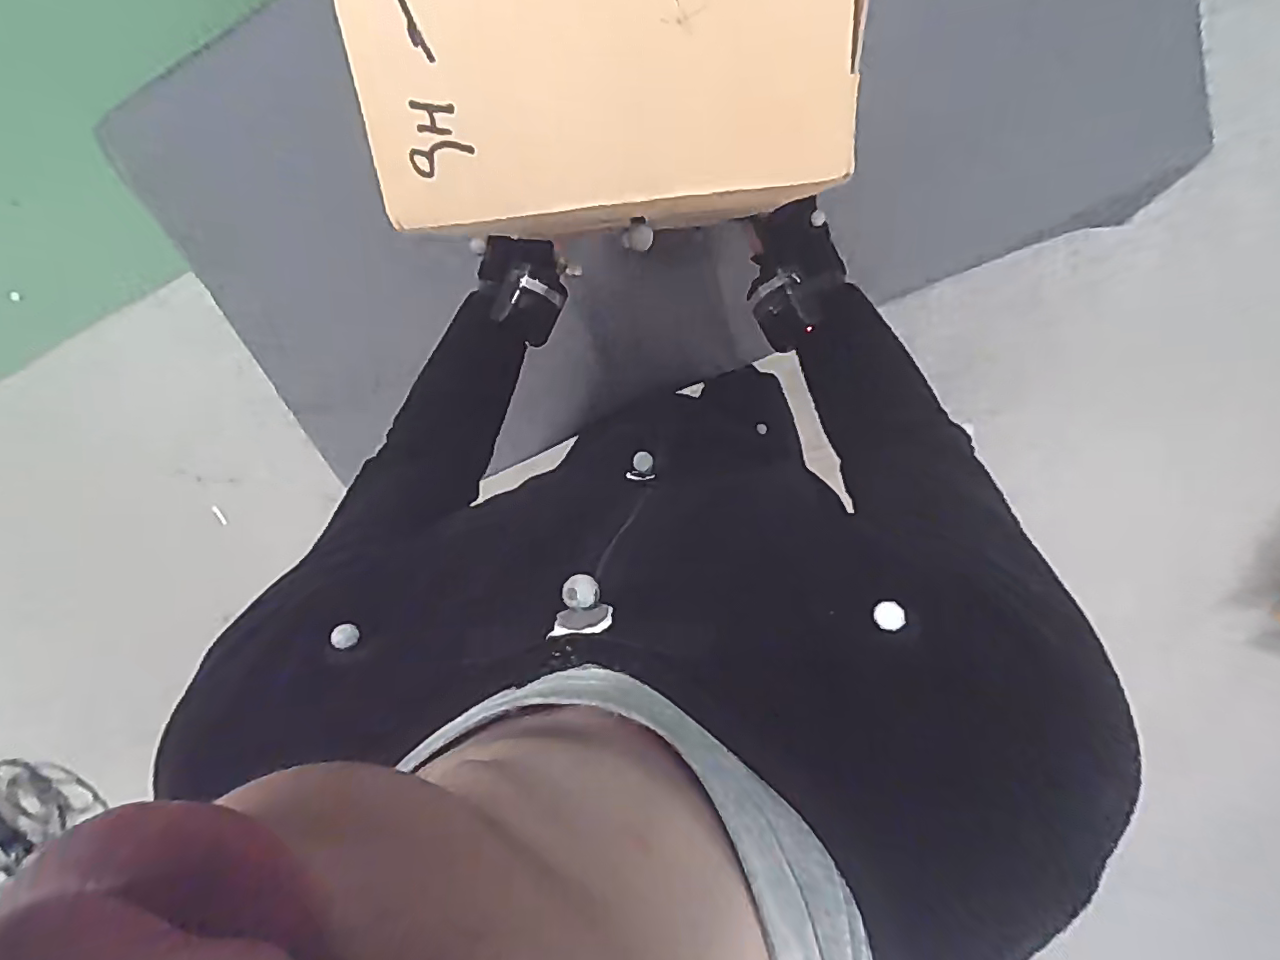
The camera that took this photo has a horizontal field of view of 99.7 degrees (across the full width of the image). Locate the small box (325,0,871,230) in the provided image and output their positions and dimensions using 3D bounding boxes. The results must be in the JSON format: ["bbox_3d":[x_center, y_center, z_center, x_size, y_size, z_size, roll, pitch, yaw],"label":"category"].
[{"bbox_3d":[-0.013,-0.206,0.235,0.179,0.176,0.168,-3,113,5],"label":"small box"}]
